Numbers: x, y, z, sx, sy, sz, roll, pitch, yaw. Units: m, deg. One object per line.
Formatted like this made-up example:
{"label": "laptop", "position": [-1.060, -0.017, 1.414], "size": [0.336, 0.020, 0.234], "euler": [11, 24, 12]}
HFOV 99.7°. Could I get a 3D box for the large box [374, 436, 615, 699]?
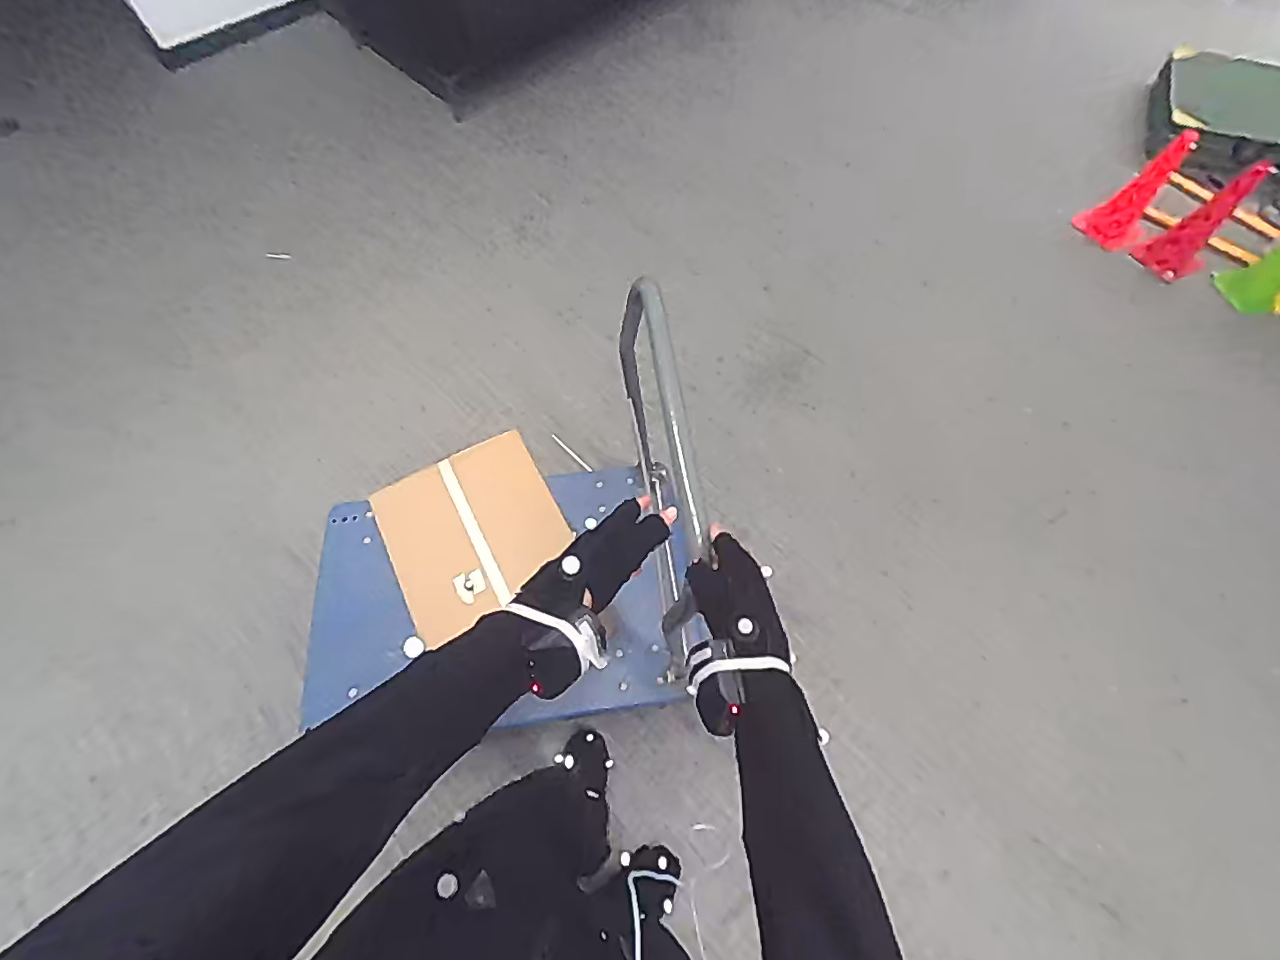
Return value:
{"label": "large box", "position": [-0.286, 0.191, 1.143], "size": [0.320, 0.320, 0.408], "euler": [-29, 67, -12]}
